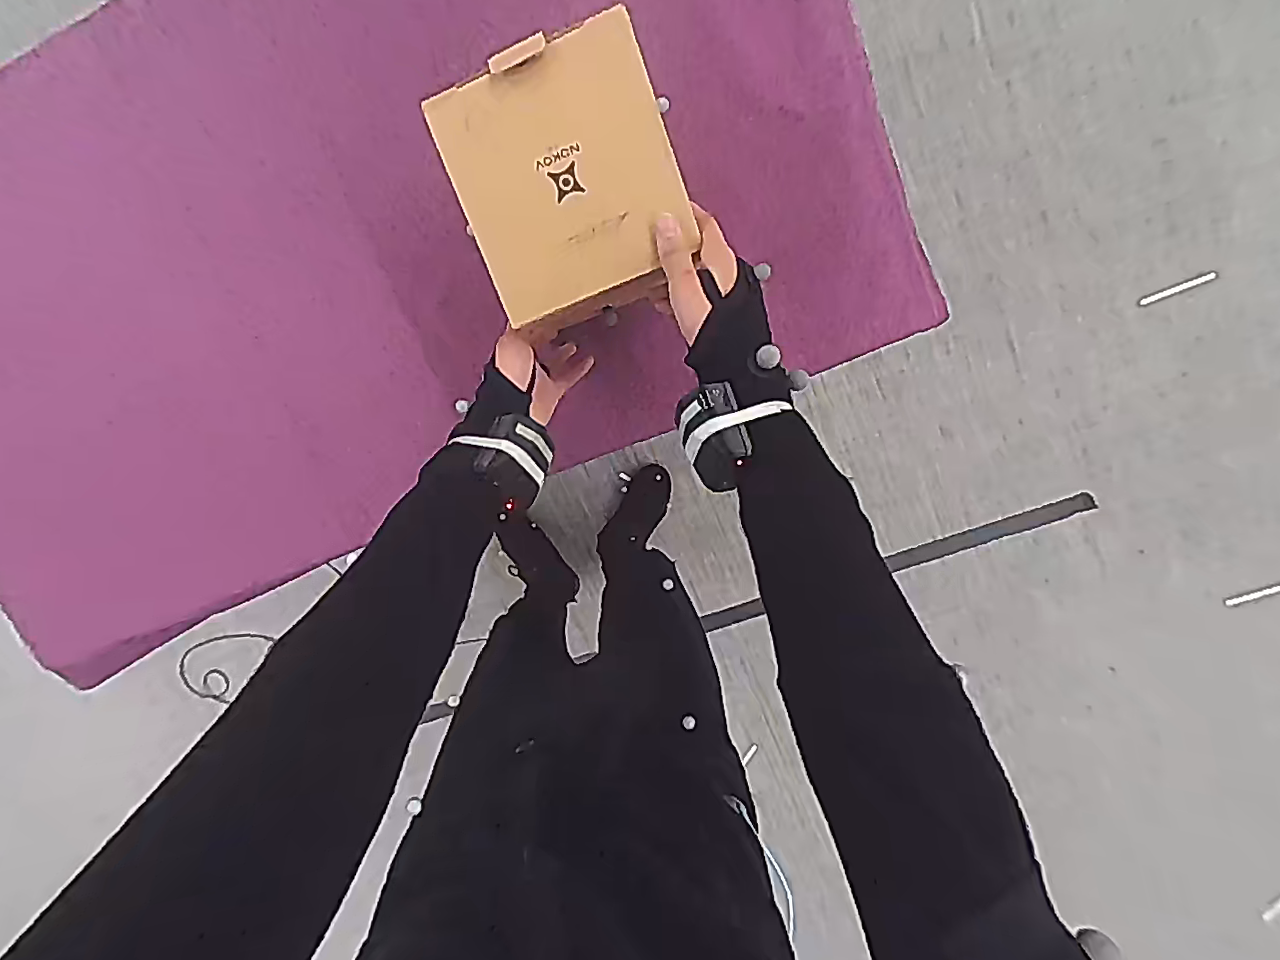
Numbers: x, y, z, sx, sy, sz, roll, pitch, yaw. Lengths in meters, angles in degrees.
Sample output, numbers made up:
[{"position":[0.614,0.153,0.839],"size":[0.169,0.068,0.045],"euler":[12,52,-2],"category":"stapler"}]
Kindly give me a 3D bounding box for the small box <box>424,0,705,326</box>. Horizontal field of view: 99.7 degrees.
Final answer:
[{"position":[-0.049,-0.247,0.475],"size":[0.168,0.176,0.179],"euler":[-18,102,9],"category":"small box"}]
